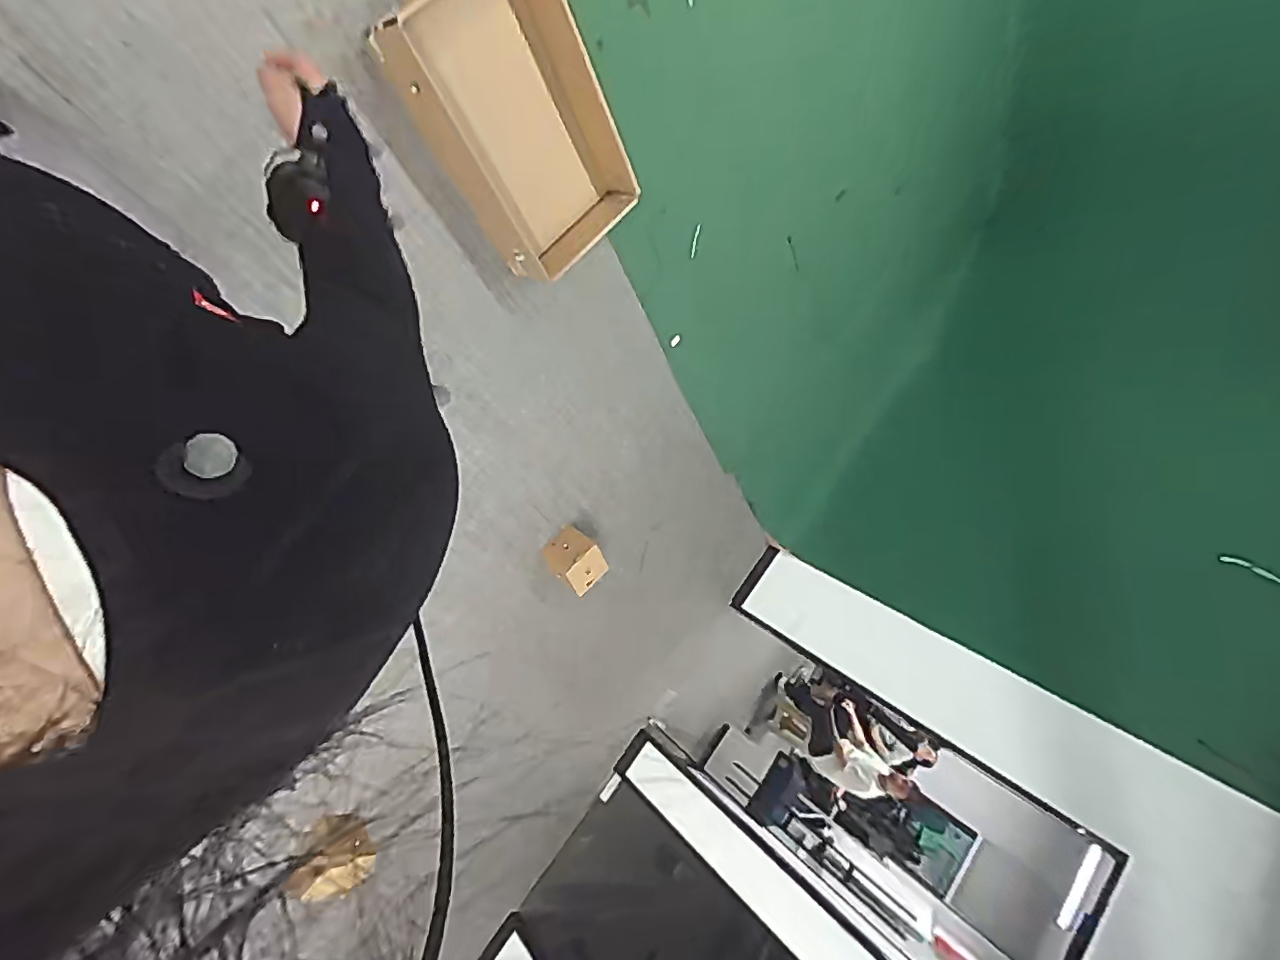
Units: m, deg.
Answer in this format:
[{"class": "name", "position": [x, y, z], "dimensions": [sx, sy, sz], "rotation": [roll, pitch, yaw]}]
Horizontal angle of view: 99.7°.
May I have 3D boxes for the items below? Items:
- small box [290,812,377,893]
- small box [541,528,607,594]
[{"class": "small box", "position": [-1.058, 1.280, 1.864], "dimensions": [0.168, 0.176, 0.179], "rotation": [-52, 140, -13]}, {"class": "small box", "position": [-0.263, 0.311, 2.140], "dimensions": [0.168, 0.176, 0.179], "rotation": [-43, 138, -22]}]
